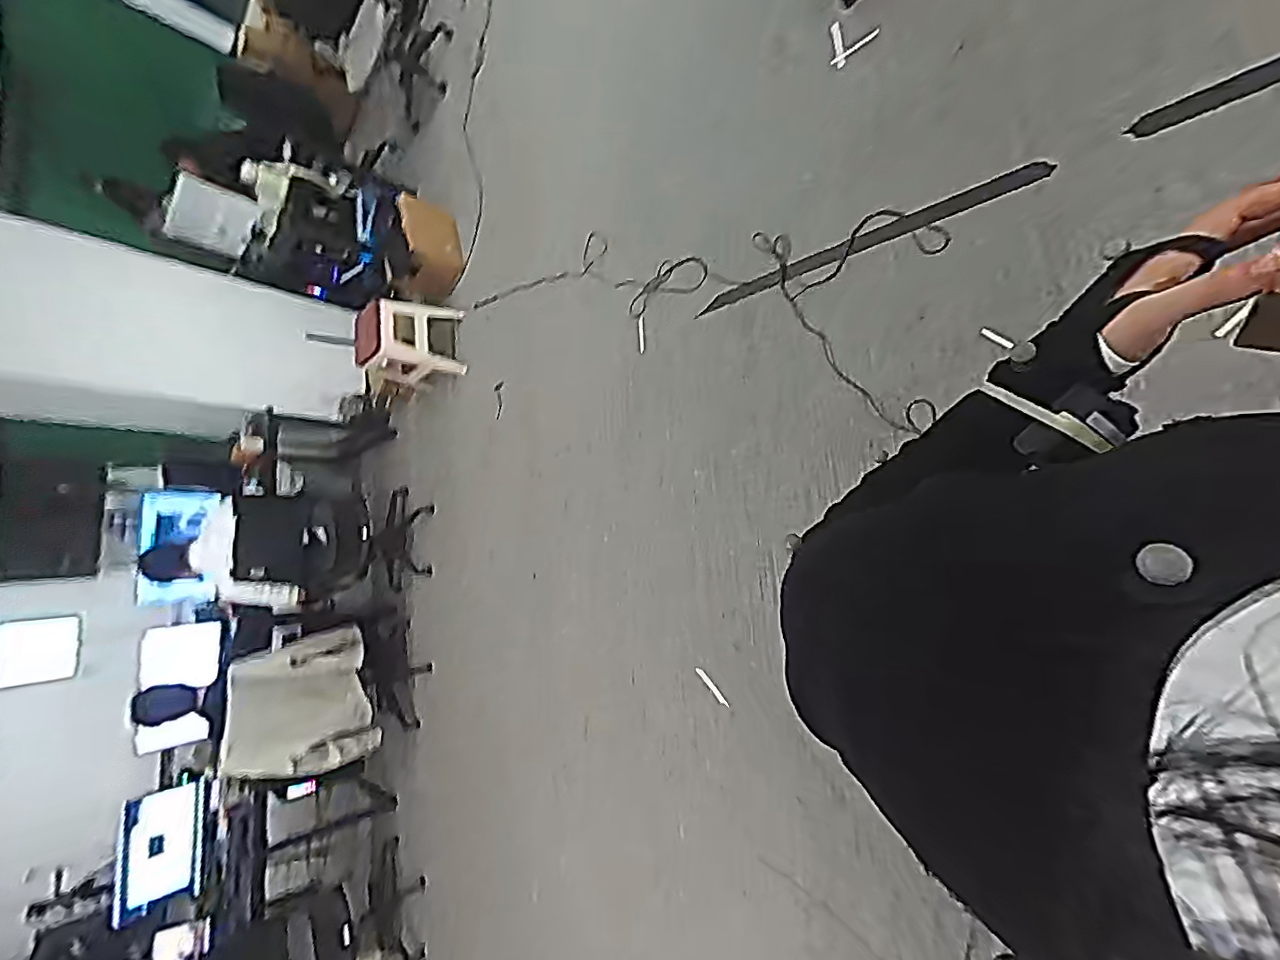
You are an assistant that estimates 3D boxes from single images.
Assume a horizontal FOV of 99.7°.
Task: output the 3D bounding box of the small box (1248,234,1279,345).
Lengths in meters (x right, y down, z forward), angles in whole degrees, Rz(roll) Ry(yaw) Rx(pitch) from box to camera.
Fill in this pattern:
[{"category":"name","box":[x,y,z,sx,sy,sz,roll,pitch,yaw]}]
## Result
[{"category":"small box","box":[0.472,-0.162,0.281,0.168,0.176,0.179,26,108,41]}]
